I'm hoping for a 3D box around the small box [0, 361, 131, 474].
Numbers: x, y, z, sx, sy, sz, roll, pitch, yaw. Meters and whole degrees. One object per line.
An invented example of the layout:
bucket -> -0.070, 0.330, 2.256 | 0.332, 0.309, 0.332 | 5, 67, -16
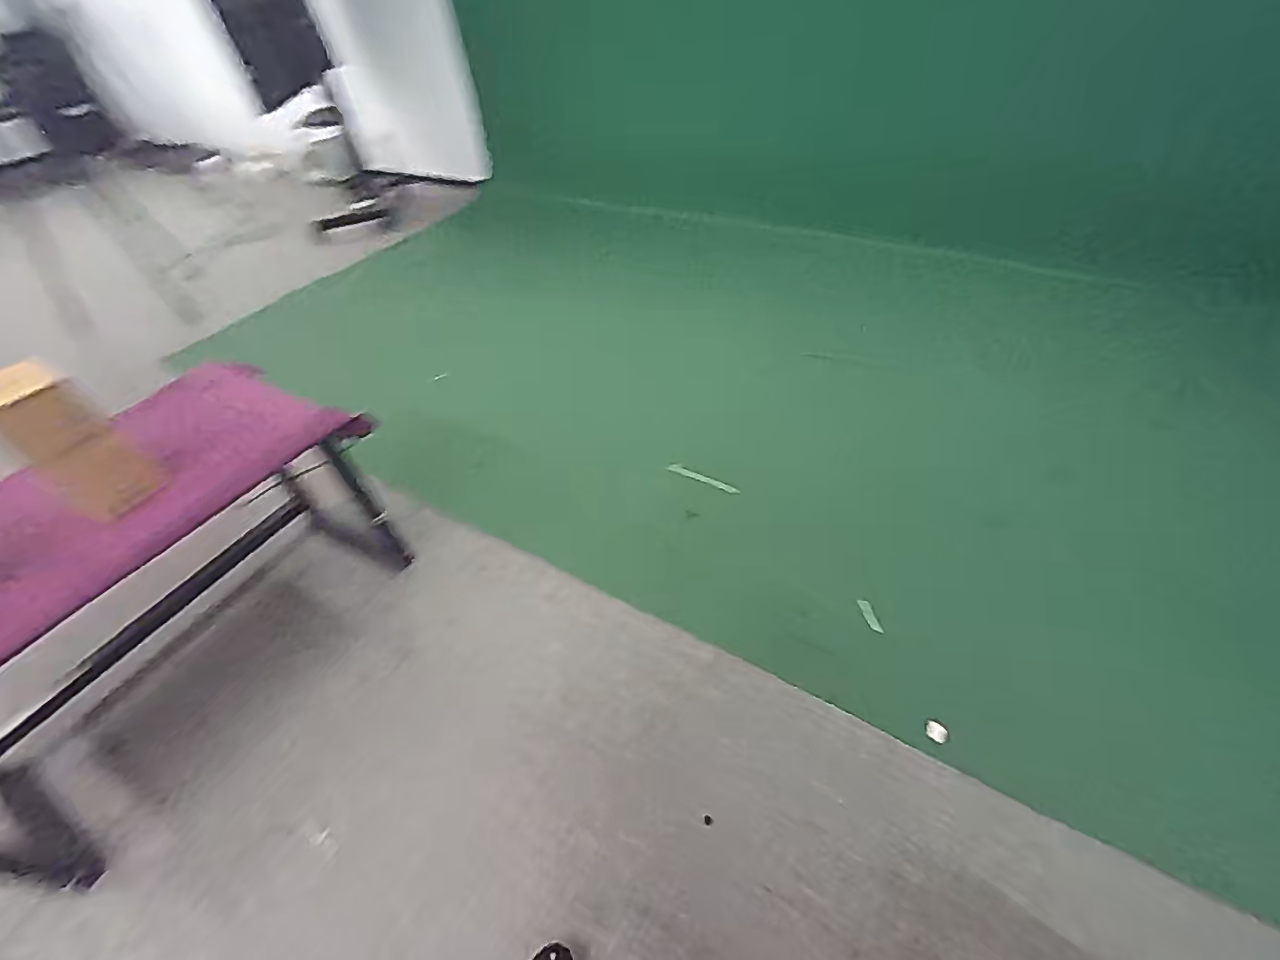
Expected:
small box -> -1.320, -0.138, 1.220 | 0.179, 0.176, 0.168 | 23, 52, 26
